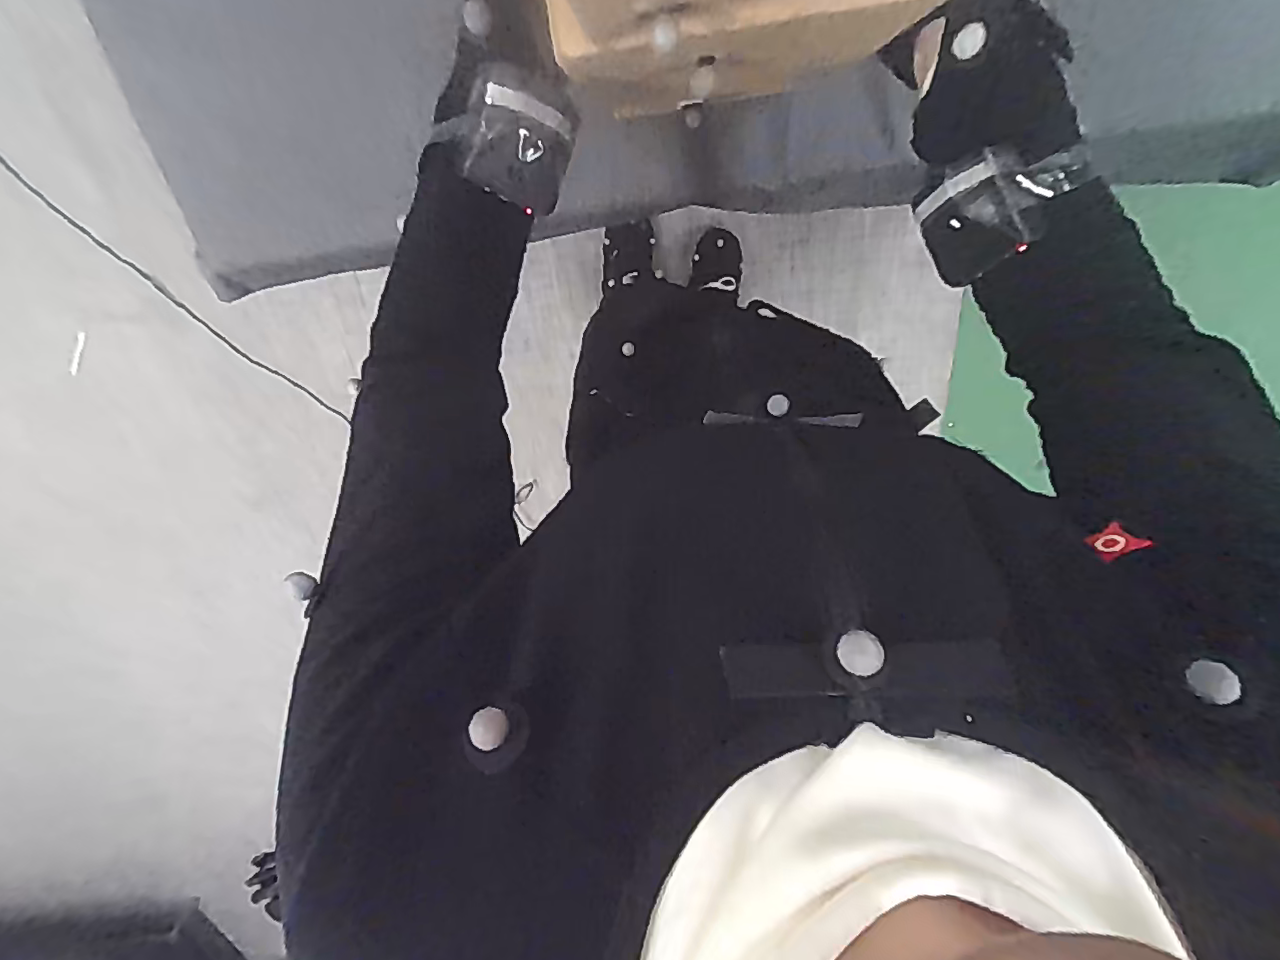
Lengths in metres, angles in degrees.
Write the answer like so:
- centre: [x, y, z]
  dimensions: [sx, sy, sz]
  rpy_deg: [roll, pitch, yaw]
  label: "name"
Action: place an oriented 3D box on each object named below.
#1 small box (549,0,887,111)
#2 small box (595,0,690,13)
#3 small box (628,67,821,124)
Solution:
- centre: [0.039, -0.312, 0.275]
  dimensions: [0.179, 0.176, 0.168]
  rpy_deg: [-8, 115, 6]
  label: "small box"
- centre: [0.034, -0.247, 0.122]
  dimensions: [0.168, 0.176, 0.179]
  rpy_deg: [-9, 115, 8]
  label: "small box"
- centre: [0.048, -0.397, 0.413]
  dimensions: [0.168, 0.176, 0.179]
  rpy_deg: [-7, 118, 7]
  label: "small box"
